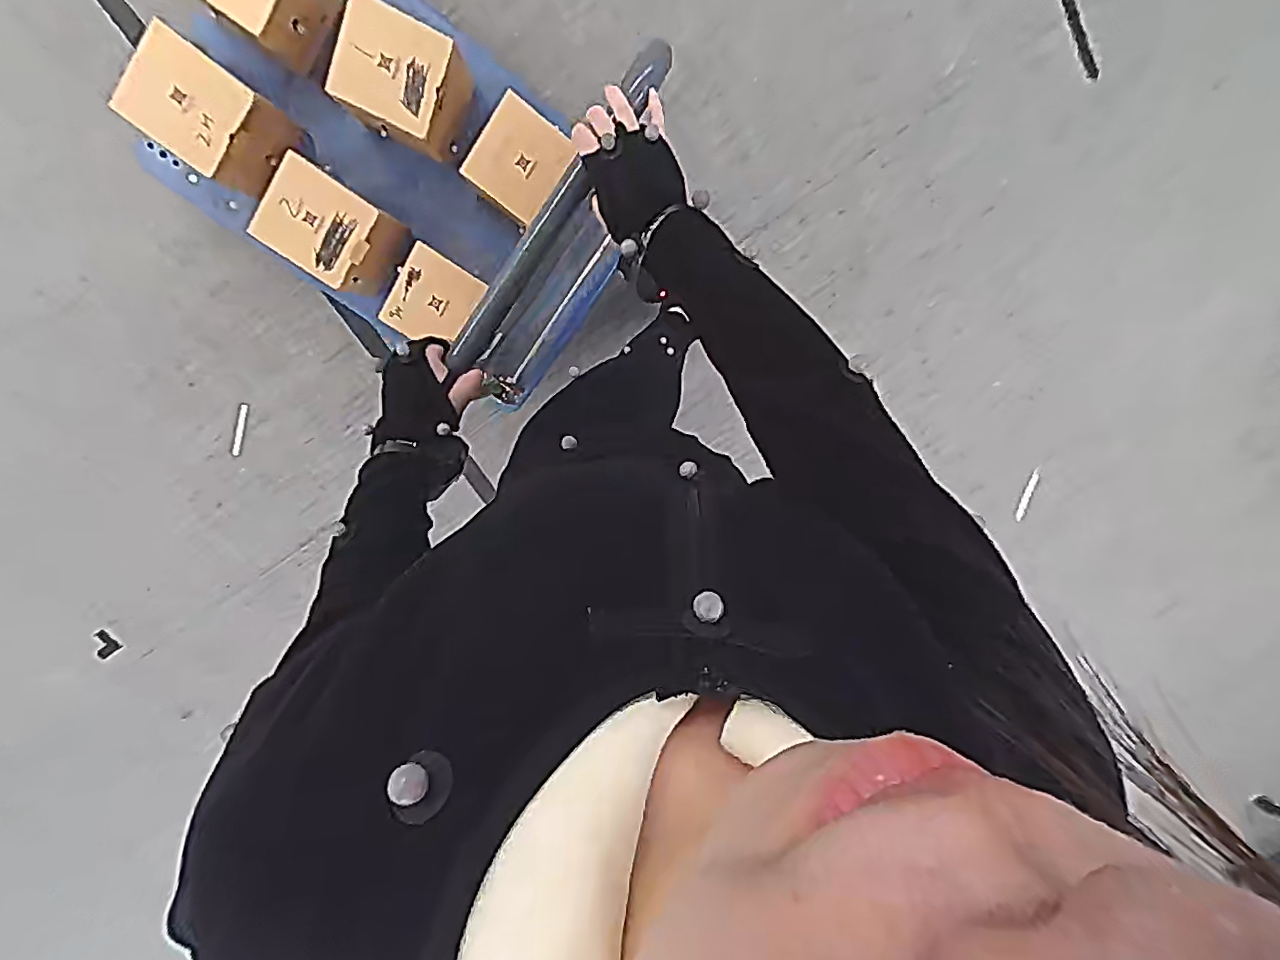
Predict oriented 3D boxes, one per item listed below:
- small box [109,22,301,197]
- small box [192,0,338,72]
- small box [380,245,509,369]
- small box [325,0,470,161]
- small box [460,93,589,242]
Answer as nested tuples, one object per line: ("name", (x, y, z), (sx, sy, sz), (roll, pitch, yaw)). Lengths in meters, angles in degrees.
("small box", (-0.764, -0.644, 0.971), (0.179, 0.176, 0.168), (35, 100, -15))
("small box", (-0.659, -0.849, 0.926), (0.179, 0.176, 0.168), (31, 101, -14))
("small box", (-0.383, -0.347, 1.098), (0.179, 0.176, 0.168), (30, 100, -14))
("small box", (-0.429, -0.715, 0.988), (0.179, 0.176, 0.168), (22, 103, -11))
("small box", (-0.214, -0.587, 1.049), (0.179, 0.176, 0.168), (34, 99, -13))
